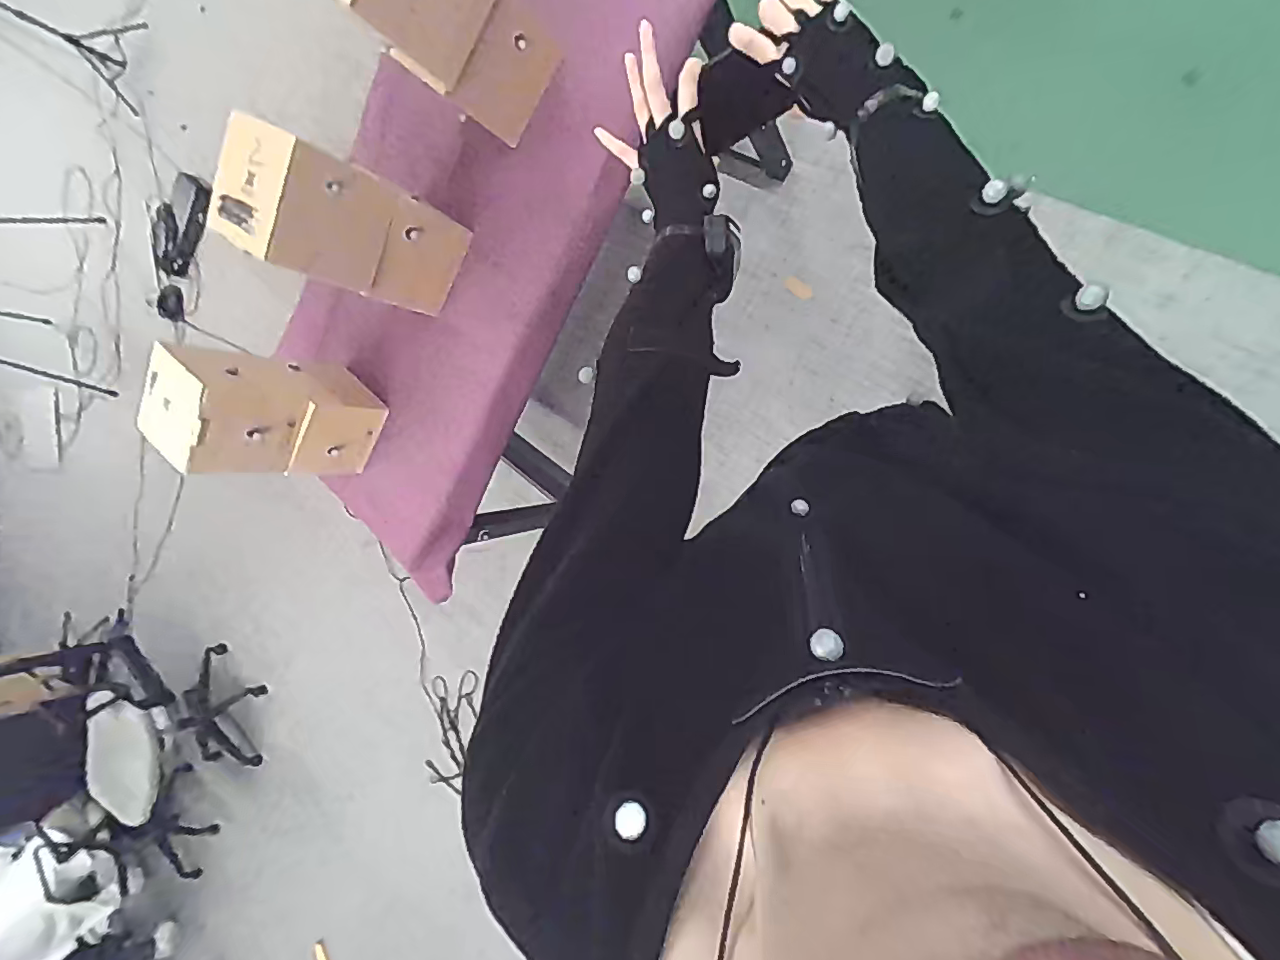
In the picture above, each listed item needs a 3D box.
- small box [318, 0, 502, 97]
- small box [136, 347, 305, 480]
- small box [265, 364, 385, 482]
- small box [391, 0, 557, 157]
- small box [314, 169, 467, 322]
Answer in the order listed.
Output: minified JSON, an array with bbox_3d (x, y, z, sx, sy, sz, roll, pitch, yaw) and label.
[{"bbox_3d":[-0.322,-0.683,0.744,0.168,0.176,0.179,44,109,19],"label":"small box"},{"bbox_3d":[-0.743,-0.115,0.969,0.179,0.176,0.168,33,105,21],"label":"small box"},{"bbox_3d":[-0.664,-0.115,1.113,0.179,0.176,0.168,39,107,20],"label":"small box"},{"bbox_3d":[-0.265,-0.689,0.898,0.168,0.176,0.179,45,110,19],"label":"small box"},{"bbox_3d":[-0.450,-0.421,0.996,0.168,0.176,0.179,38,107,20],"label":"small box"}]
